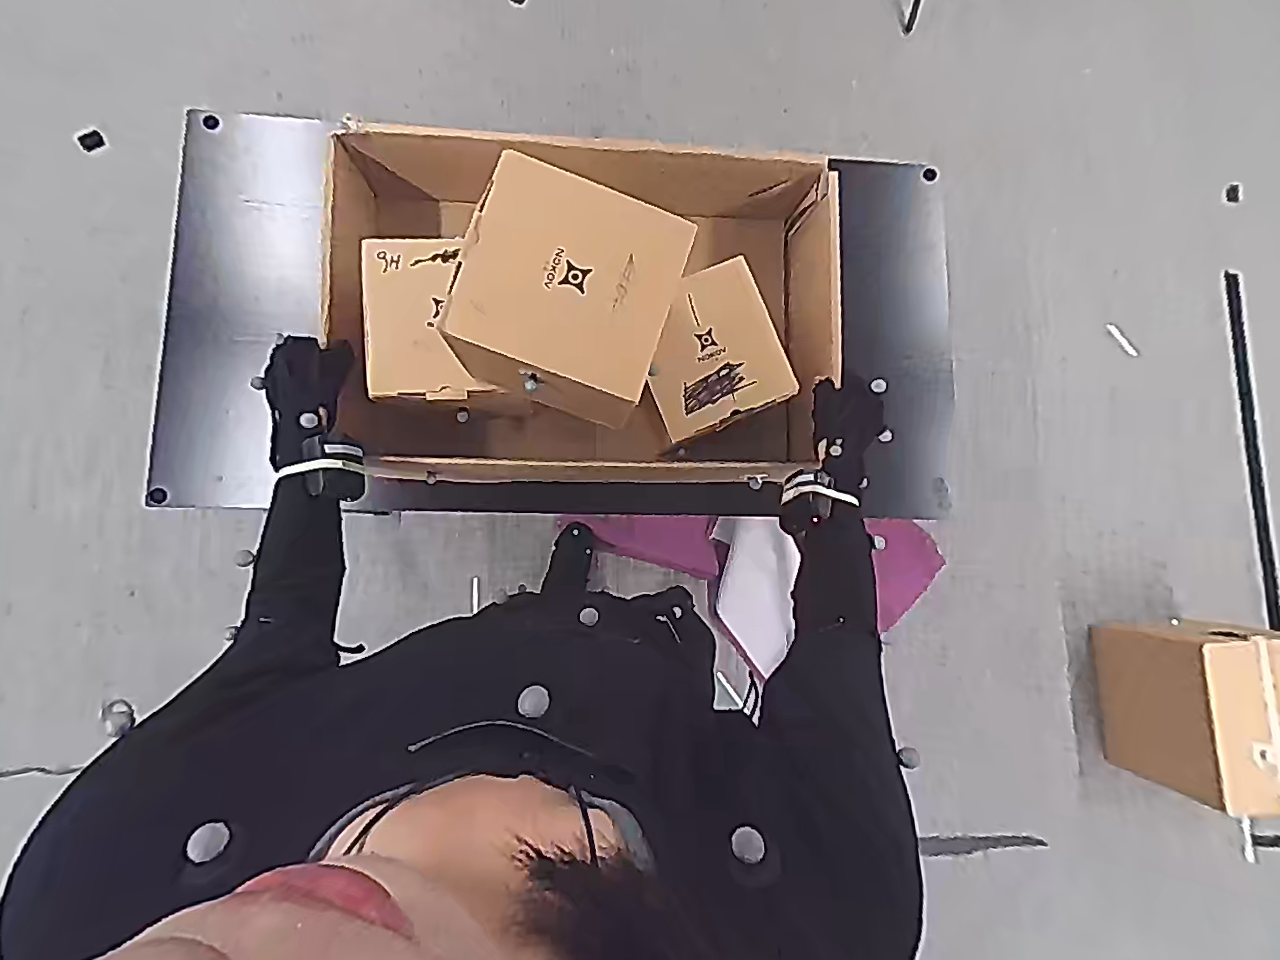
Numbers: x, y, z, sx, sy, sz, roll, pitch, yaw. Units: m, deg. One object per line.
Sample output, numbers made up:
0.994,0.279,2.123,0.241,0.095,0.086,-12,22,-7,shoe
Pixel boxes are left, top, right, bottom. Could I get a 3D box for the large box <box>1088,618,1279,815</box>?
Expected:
1.513,0.609,1.467,0.320,0.320,0.408,-3,84,-5,large box
